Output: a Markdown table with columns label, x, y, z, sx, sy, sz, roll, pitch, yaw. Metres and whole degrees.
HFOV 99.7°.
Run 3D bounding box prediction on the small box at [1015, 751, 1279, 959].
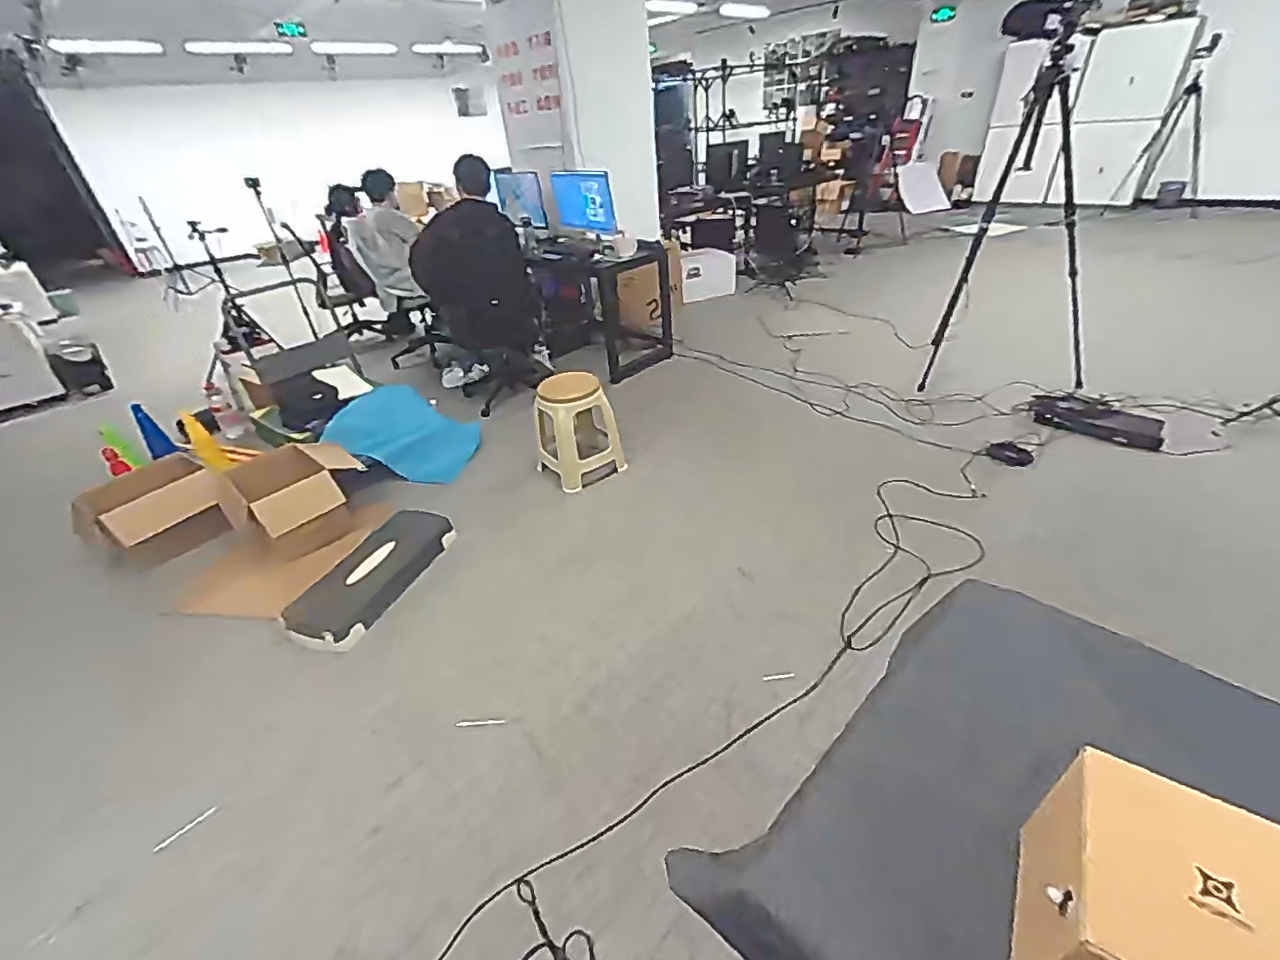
| label | x | y | z | sx | sy | sz | roll | pitch | yaw |
| --- | --- | --- | --- | --- | --- | --- | --- | --- | --- |
| small box | 0.436 | 0.378 | 0.447 | 0.168 | 0.176 | 0.179 | 18 | 41 | 27 |
